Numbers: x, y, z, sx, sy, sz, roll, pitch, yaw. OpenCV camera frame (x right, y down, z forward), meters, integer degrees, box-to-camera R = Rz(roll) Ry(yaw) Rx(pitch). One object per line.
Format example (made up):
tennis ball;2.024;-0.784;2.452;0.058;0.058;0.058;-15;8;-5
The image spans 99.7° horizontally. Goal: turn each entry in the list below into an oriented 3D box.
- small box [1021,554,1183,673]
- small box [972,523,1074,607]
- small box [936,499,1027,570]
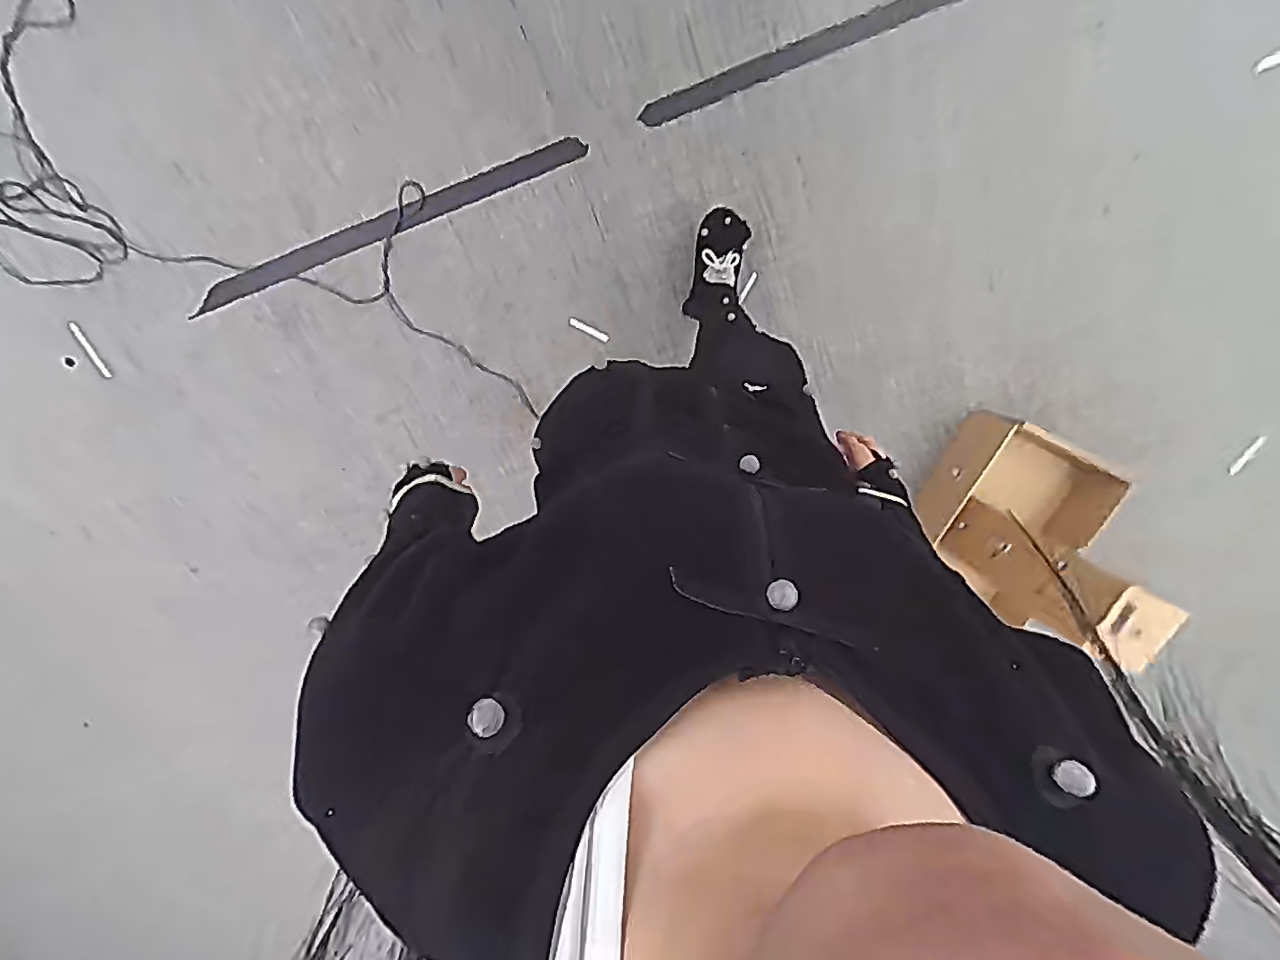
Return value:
small box;1.000;0.283;1.189;0.179;0.176;0.168;23;106;-13
small box;0.984;0.229;1.343;0.179;0.176;0.168;25;105;-11
small box;0.973;0.175;1.495;0.179;0.176;0.168;26;105;-12
